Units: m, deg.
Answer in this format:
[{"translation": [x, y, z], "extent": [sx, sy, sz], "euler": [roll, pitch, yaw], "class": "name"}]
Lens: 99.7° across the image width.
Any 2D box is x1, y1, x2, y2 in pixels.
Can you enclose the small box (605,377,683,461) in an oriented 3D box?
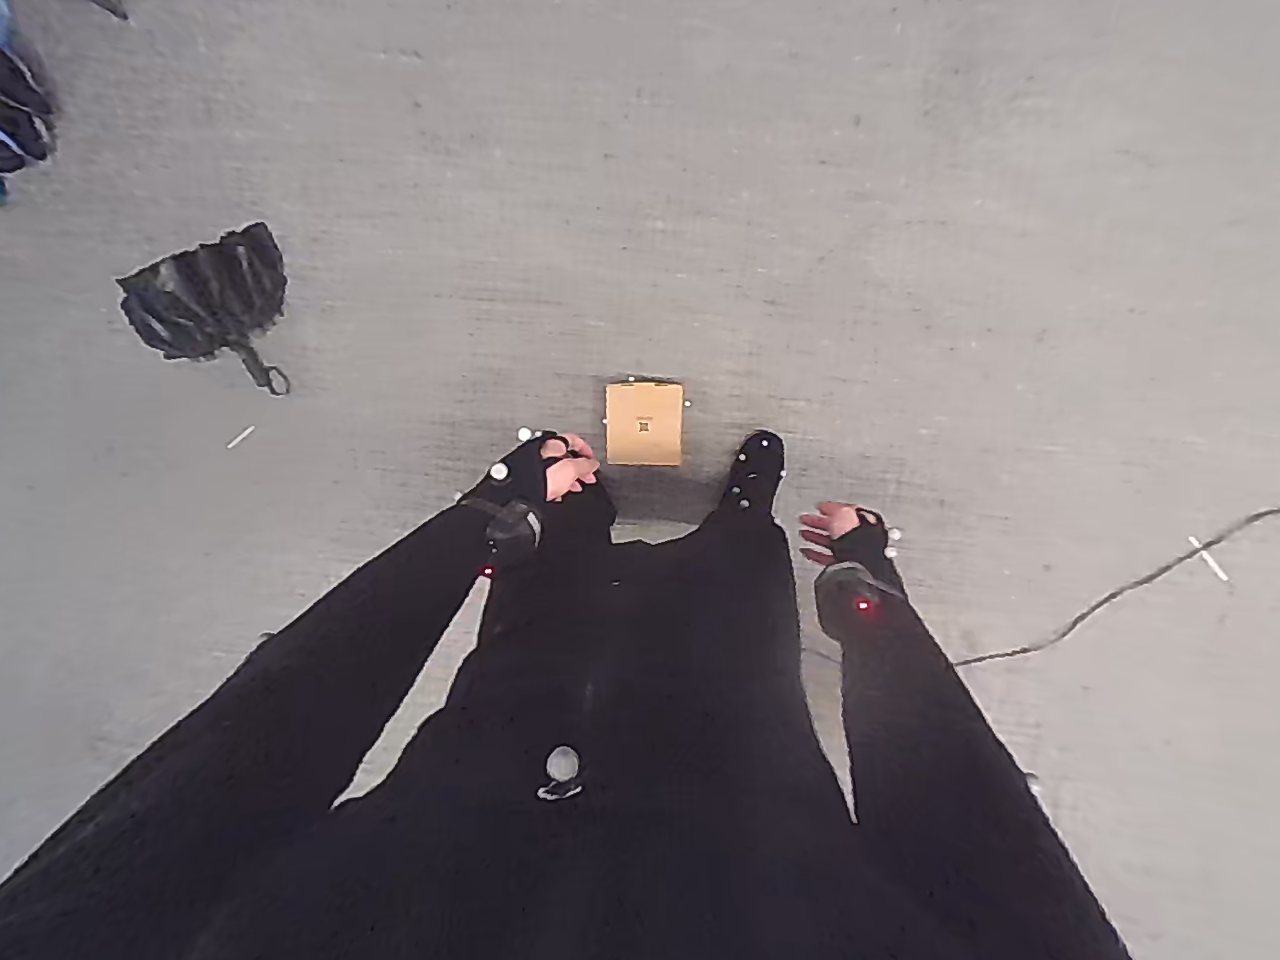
[{"translation": [0.013, -0.147, 1.249], "extent": [0.168, 0.176, 0.179], "euler": [2, 103, 6], "class": "small box"}]
